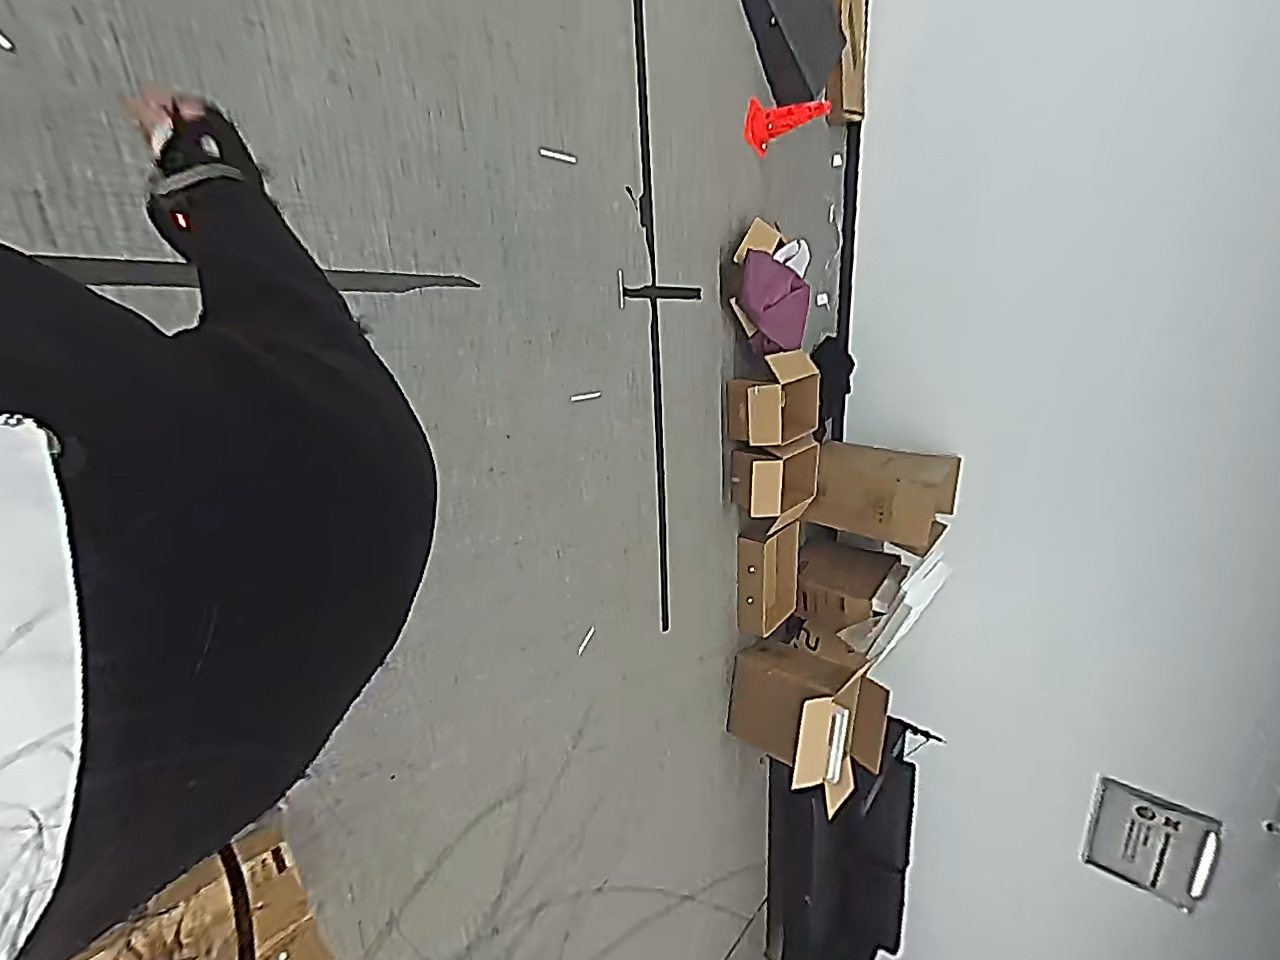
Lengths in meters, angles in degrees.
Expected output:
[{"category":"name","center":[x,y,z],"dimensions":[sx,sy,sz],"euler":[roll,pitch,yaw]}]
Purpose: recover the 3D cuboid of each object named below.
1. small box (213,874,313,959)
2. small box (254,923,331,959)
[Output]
[{"category":"small box","center":[-0.896,1.114,1.304],"dimensions":[0.168,0.176,0.179],"euler":[-21,115,-44]},{"category":"small box","center":[-0.773,1.156,1.203],"dimensions":[0.168,0.176,0.179],"euler":[-22,116,-44]}]
